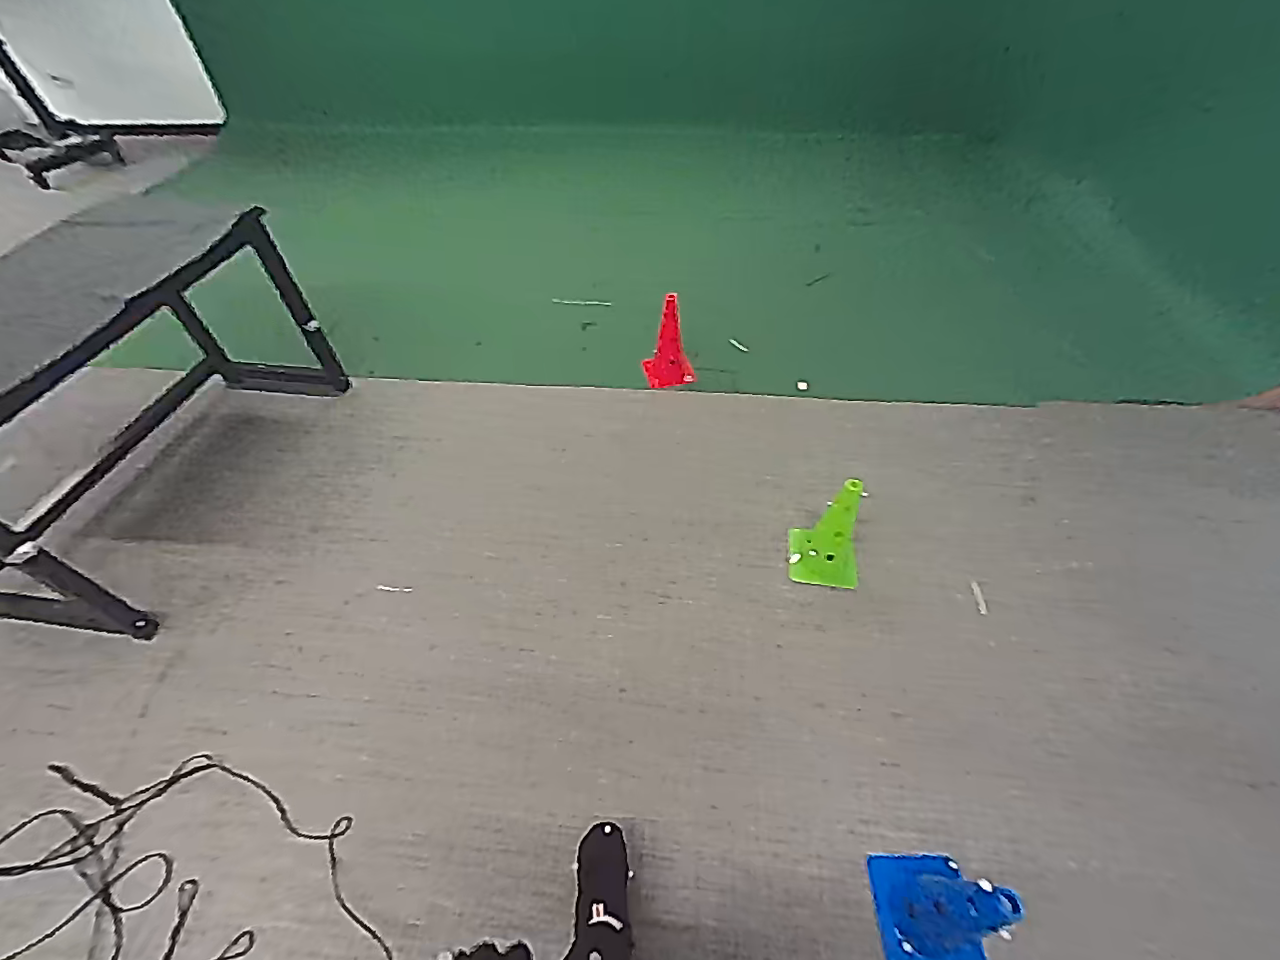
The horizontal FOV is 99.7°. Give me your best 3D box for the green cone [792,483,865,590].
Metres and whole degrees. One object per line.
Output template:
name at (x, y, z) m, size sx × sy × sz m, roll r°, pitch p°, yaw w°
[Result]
green cone at (0.577, 0.136, 1.570) m, size 0.200 × 0.368 × 0.202 m, roll 5°, pitch 49°, yaw 7°
